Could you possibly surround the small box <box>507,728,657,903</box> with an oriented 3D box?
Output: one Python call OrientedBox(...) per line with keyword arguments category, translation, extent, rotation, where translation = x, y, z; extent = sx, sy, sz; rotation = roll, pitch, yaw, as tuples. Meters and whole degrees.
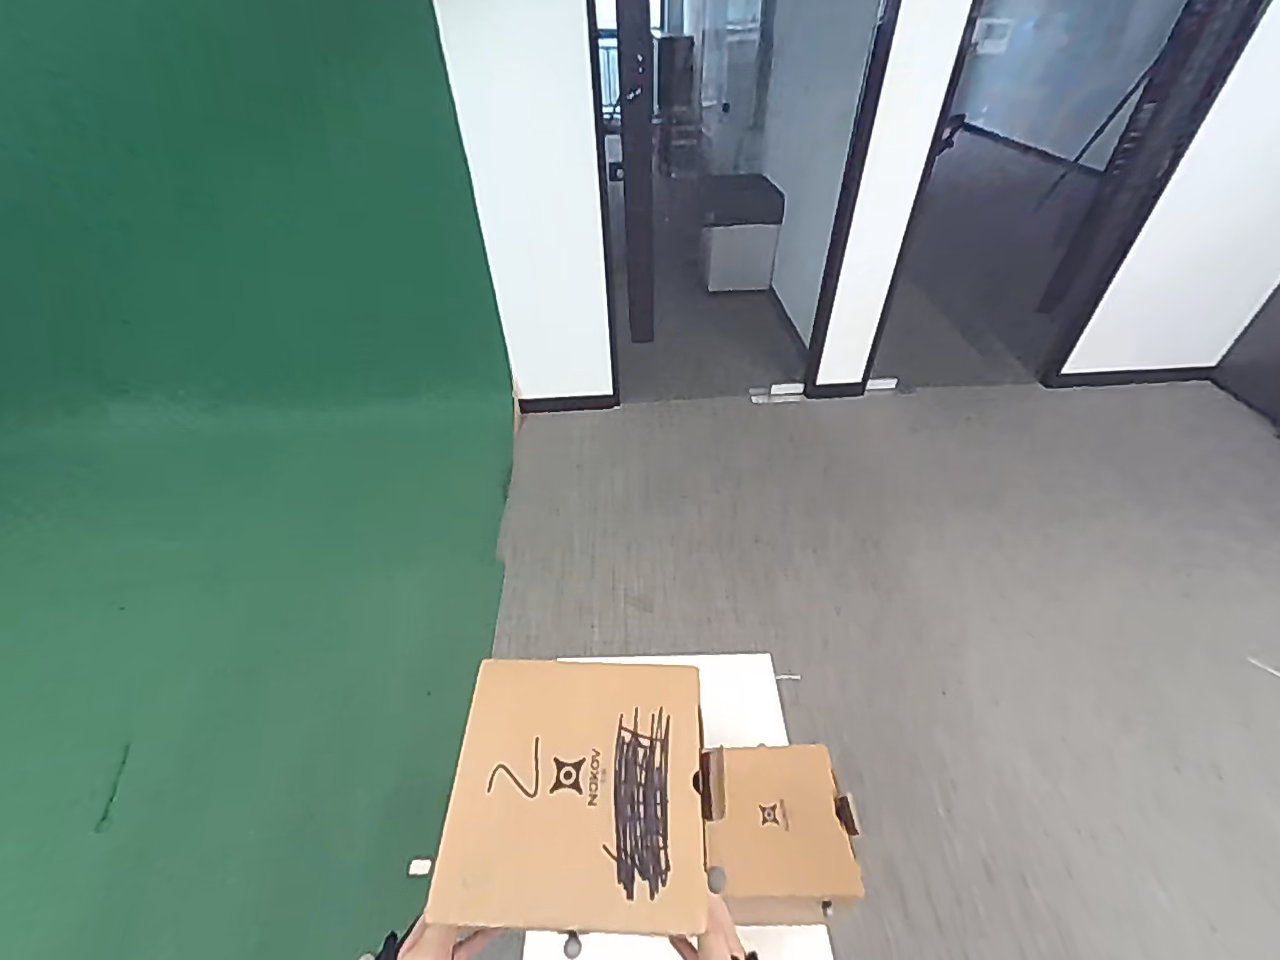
OrientedBox(category="small box", translation=(-0.067, 0.457, 0.736), extent=(0.179, 0.176, 0.168), rotation=(-1, 43, 0))
